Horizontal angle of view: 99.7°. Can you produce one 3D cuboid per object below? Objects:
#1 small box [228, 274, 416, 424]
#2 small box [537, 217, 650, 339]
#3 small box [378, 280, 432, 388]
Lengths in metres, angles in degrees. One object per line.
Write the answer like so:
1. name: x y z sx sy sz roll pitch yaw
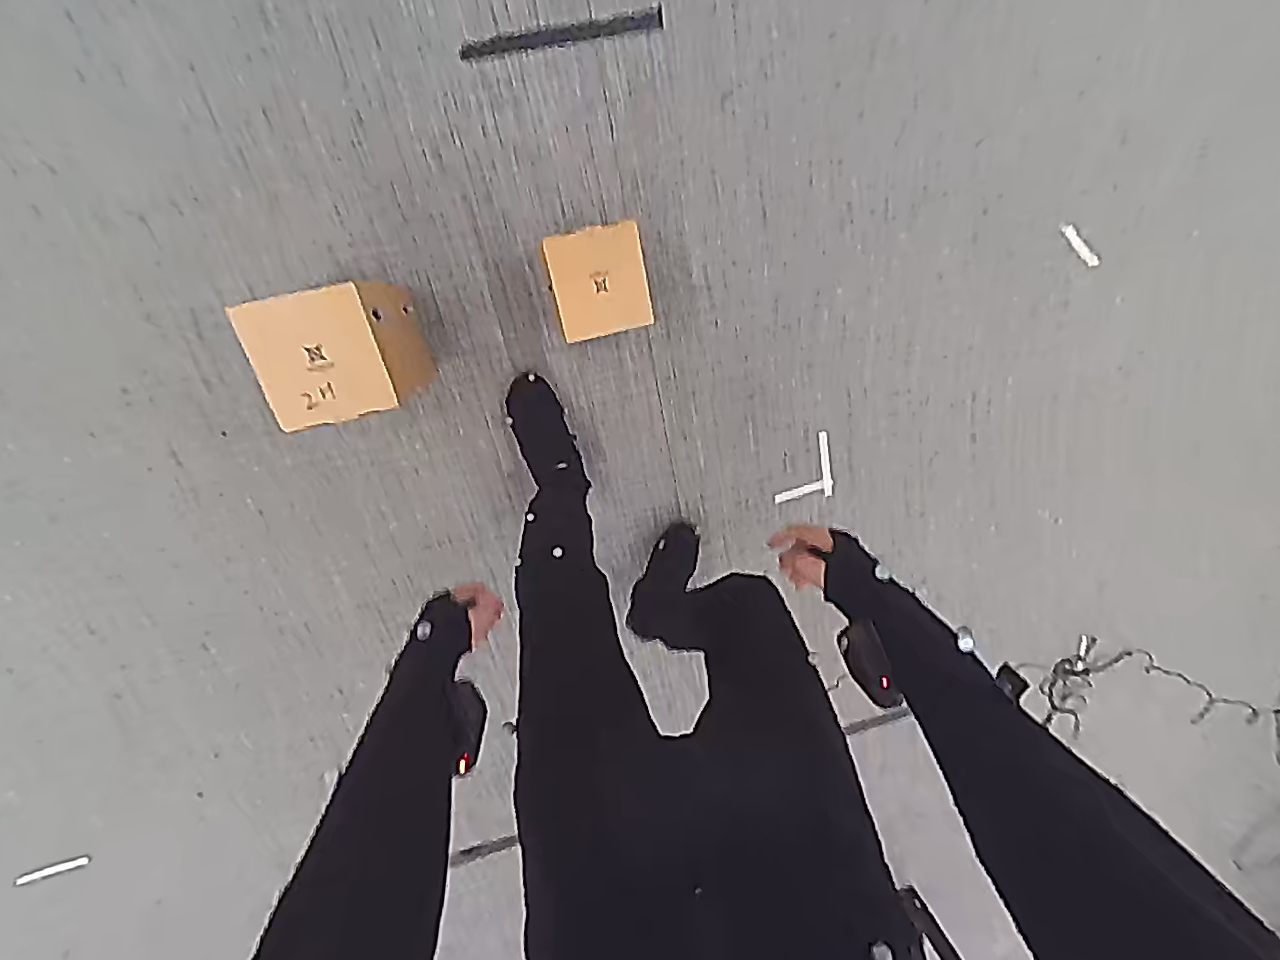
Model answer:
1. small box: -0.456 -0.201 0.809 0.168 0.176 0.179 -14 113 -6
2. small box: -0.090 -0.375 1.009 0.168 0.176 0.179 -15 112 -7
3. small box: -0.487 -0.249 0.963 0.168 0.176 0.179 -14 112 -6
